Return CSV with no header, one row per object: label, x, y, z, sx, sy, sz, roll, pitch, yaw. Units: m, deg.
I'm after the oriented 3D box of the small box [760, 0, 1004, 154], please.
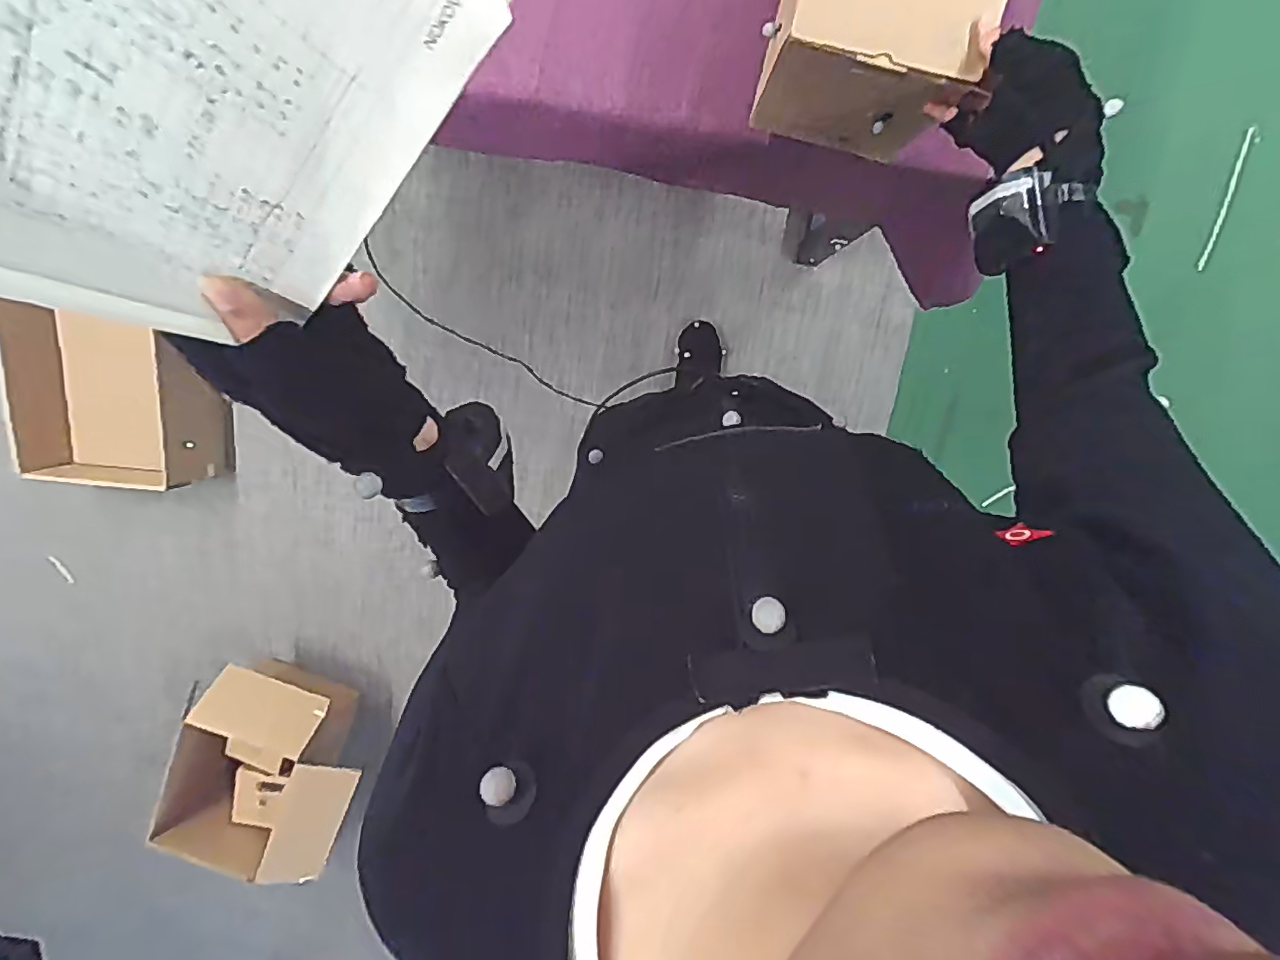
small box,0.221,-0.441,0.506,0.168,0.176,0.179,13,101,-2
